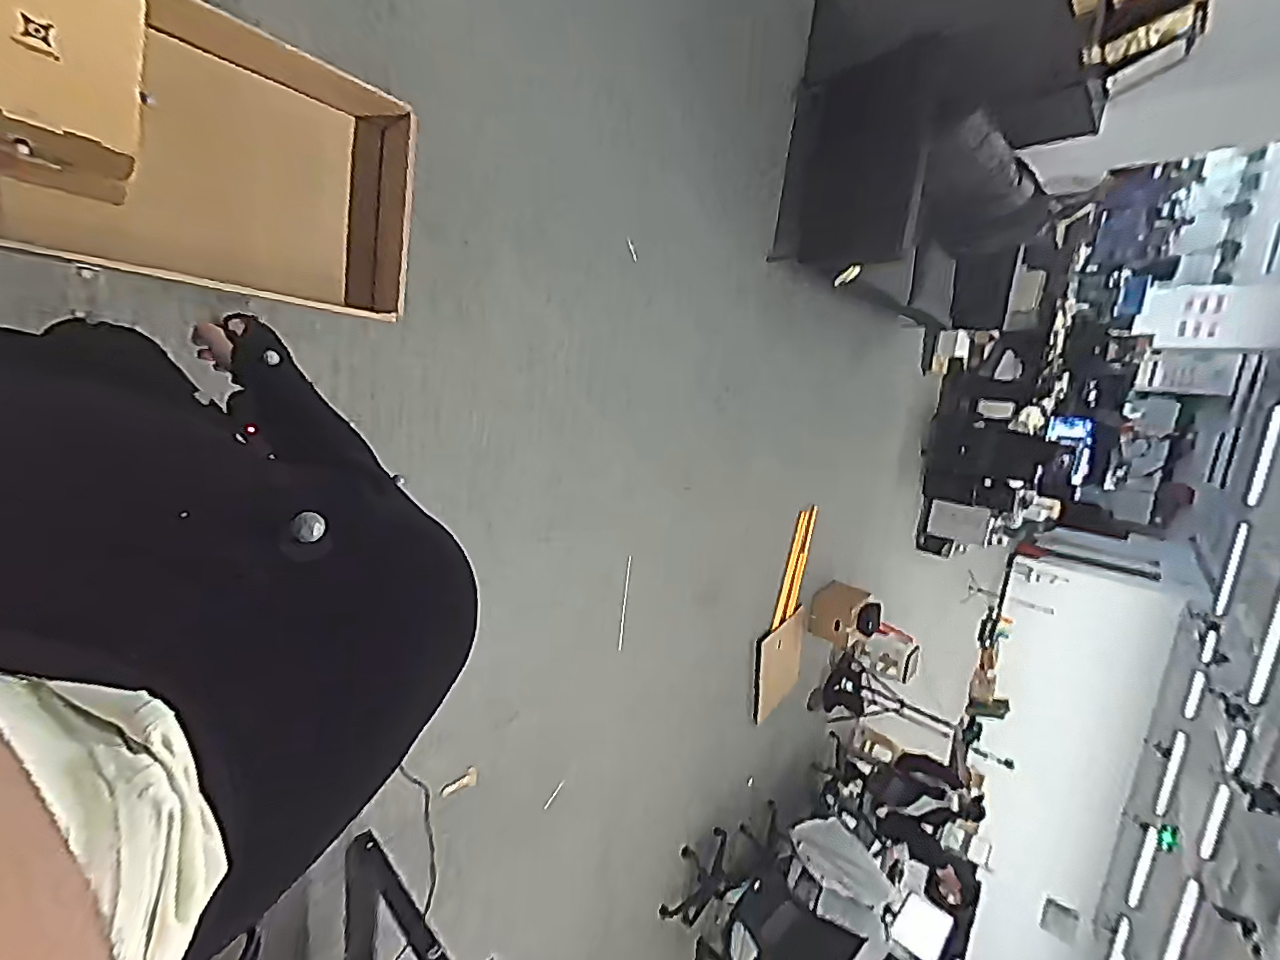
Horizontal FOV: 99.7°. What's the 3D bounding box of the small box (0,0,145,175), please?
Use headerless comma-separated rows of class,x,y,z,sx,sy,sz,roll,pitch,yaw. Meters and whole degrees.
small box,-0.688,-0.484,0.615,0.168,0.176,0.179,2,99,-47
